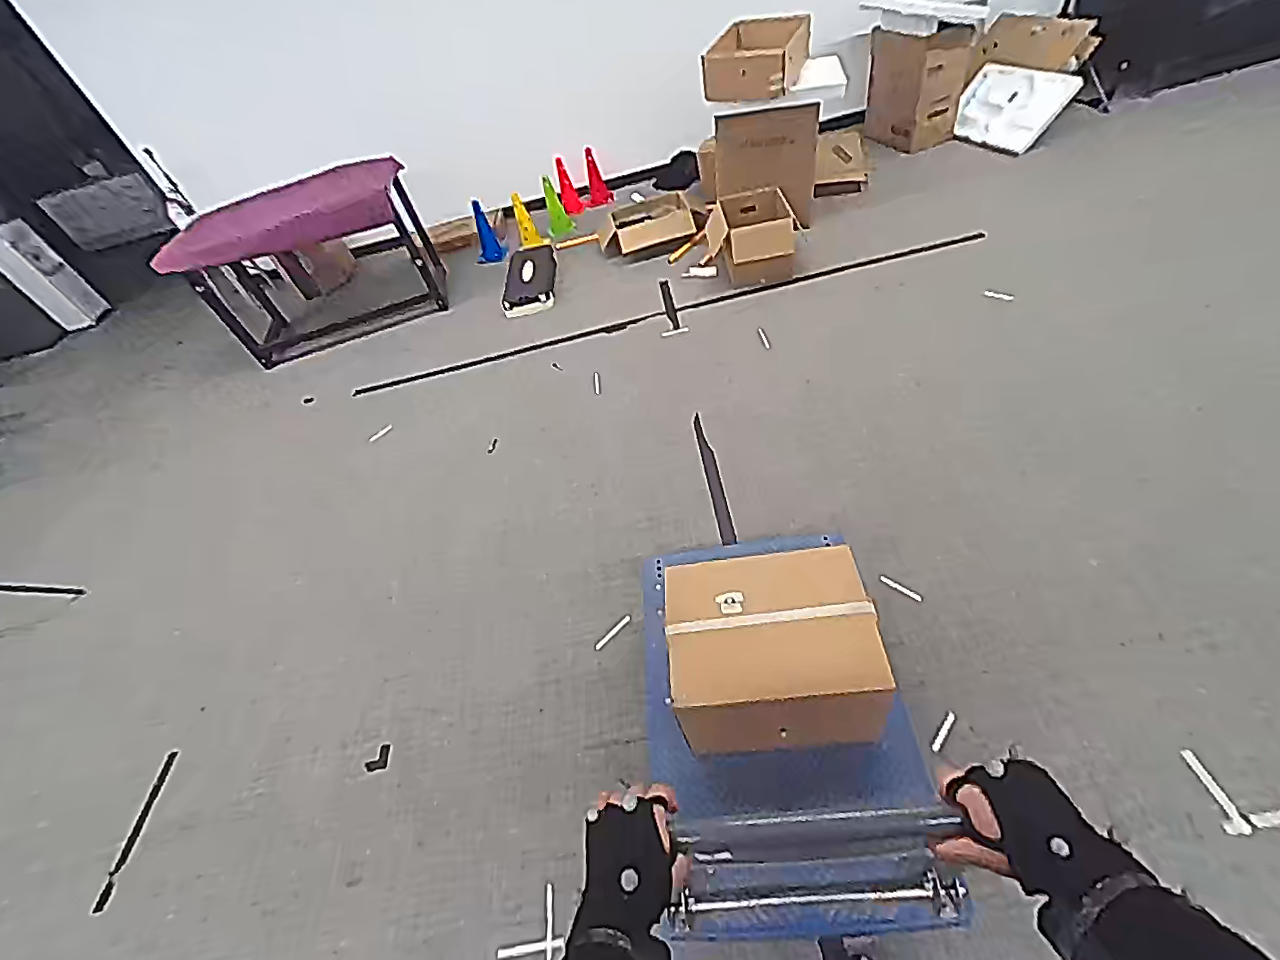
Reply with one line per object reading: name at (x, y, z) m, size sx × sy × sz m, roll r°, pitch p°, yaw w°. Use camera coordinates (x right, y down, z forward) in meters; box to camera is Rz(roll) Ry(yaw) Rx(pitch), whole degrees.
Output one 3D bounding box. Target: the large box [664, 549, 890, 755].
large box at (0.287, 0.392, 1.206) m, size 0.408 × 0.320 × 0.320 m, roll -10°, pitch 46°, yaw 9°
